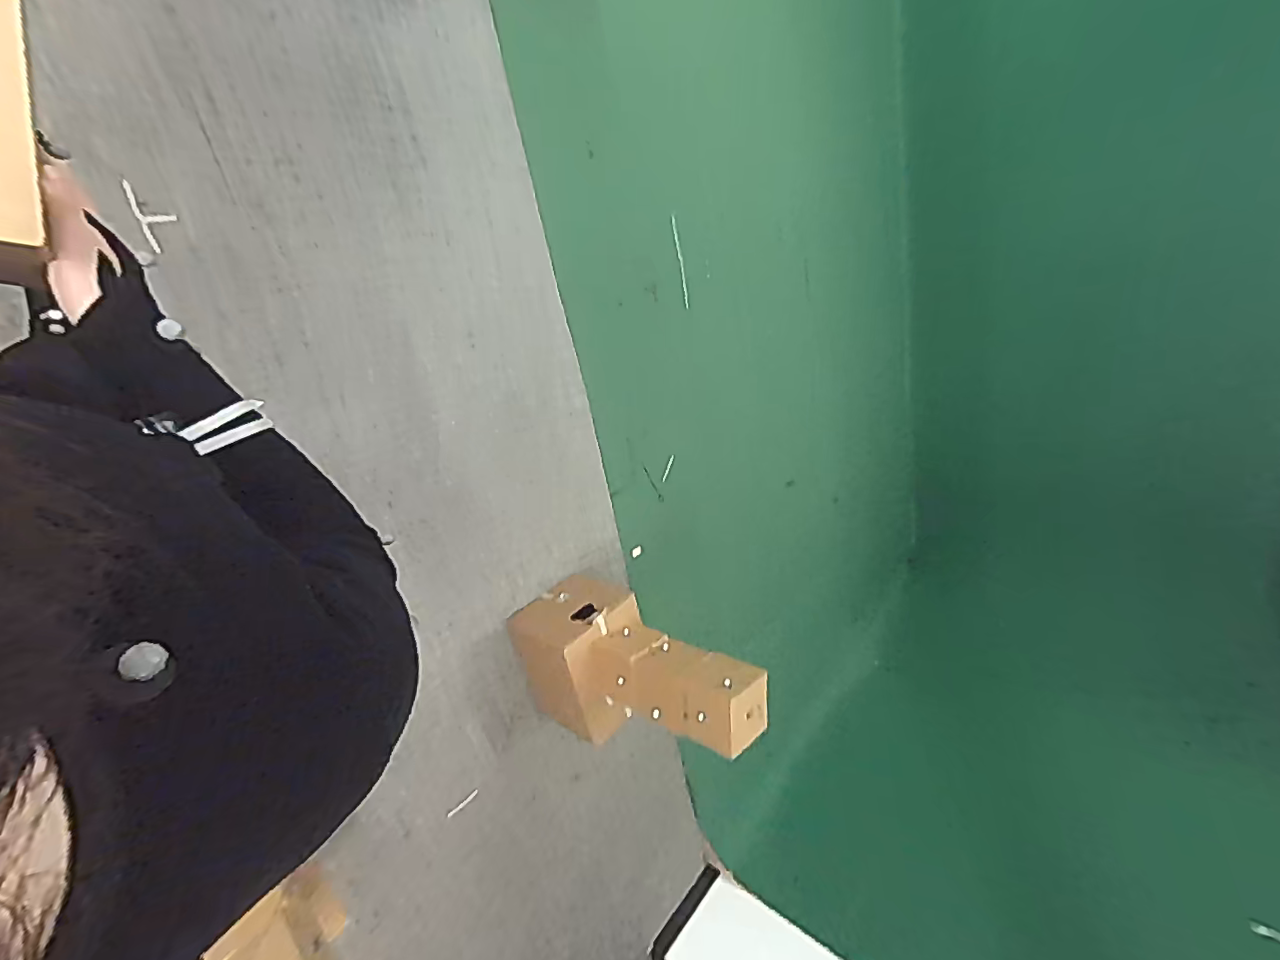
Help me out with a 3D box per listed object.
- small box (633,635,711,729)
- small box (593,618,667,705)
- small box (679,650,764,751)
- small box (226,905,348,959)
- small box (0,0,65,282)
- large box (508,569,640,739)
[{"bbox_3d":[0.094,0.578,1.570,0.168,0.176,0.179,-14,105,-45],"label":"small box"},{"bbox_3d":[-0.028,0.554,1.675,0.168,0.176,0.179,-18,108,-44],"label":"small box"},{"bbox_3d":[0.218,0.587,1.461,0.179,0.176,0.168,-13,105,-45],"label":"small box"},{"bbox_3d":[-0.596,0.862,0.897,0.168,0.176,0.179,-41,122,-36],"label":"small box"},{"bbox_3d":[-0.453,-0.226,0.304,0.168,0.176,0.179,-7,101,-46],"label":"small box"},{"bbox_3d":[-0.196,0.578,1.856,0.320,0.320,0.408,-31,118,-39],"label":"large box"}]
